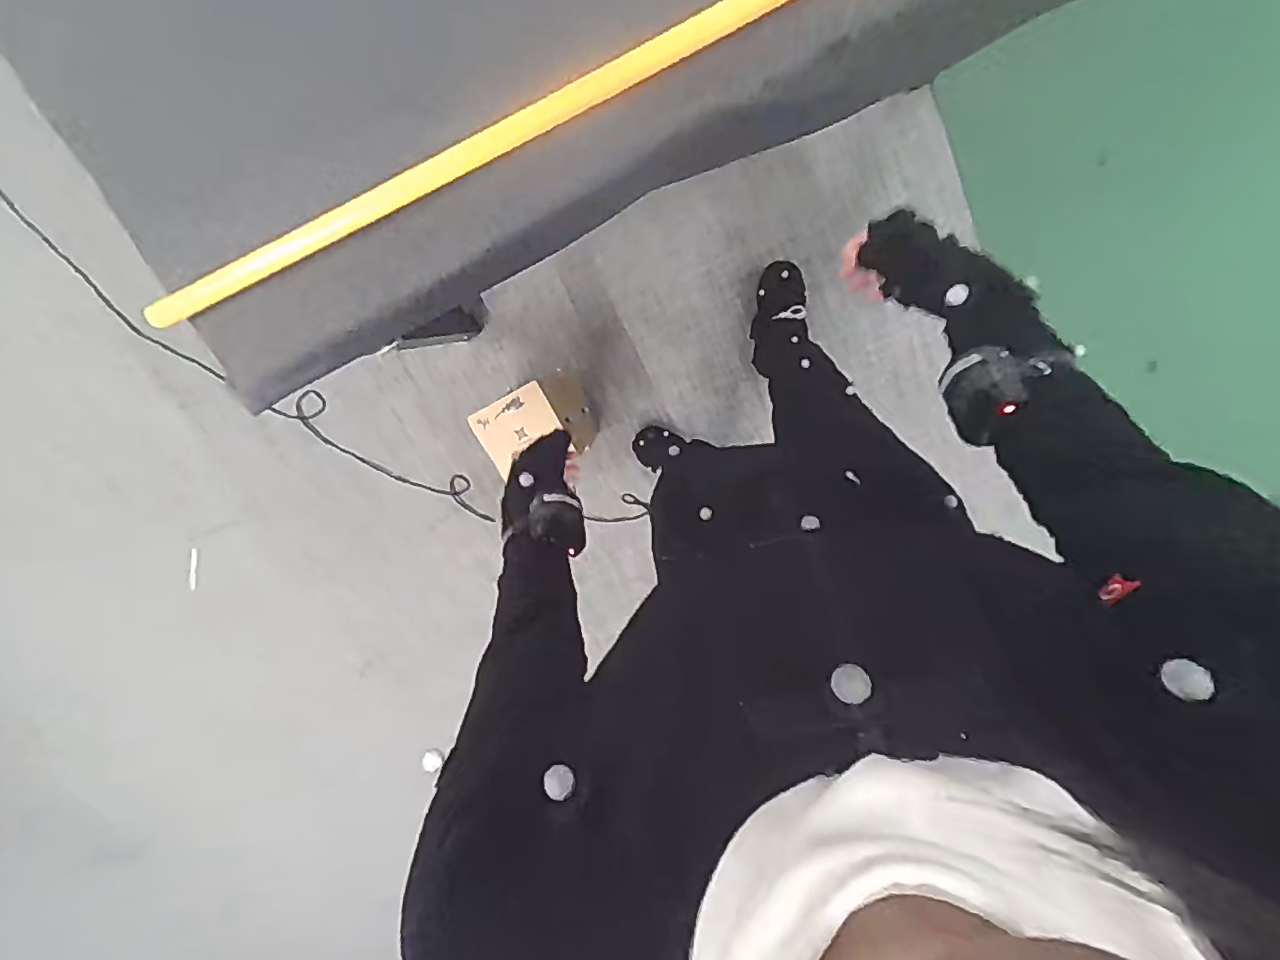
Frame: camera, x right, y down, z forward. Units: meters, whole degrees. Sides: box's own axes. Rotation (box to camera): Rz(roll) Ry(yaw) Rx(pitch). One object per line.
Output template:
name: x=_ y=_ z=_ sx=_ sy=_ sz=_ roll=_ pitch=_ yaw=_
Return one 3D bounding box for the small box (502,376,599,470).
small box: x=-0.208 y=-0.146 z=1.306 sx=0.168 sy=0.176 sz=0.179 roll=-17 pitch=106 yaw=8
